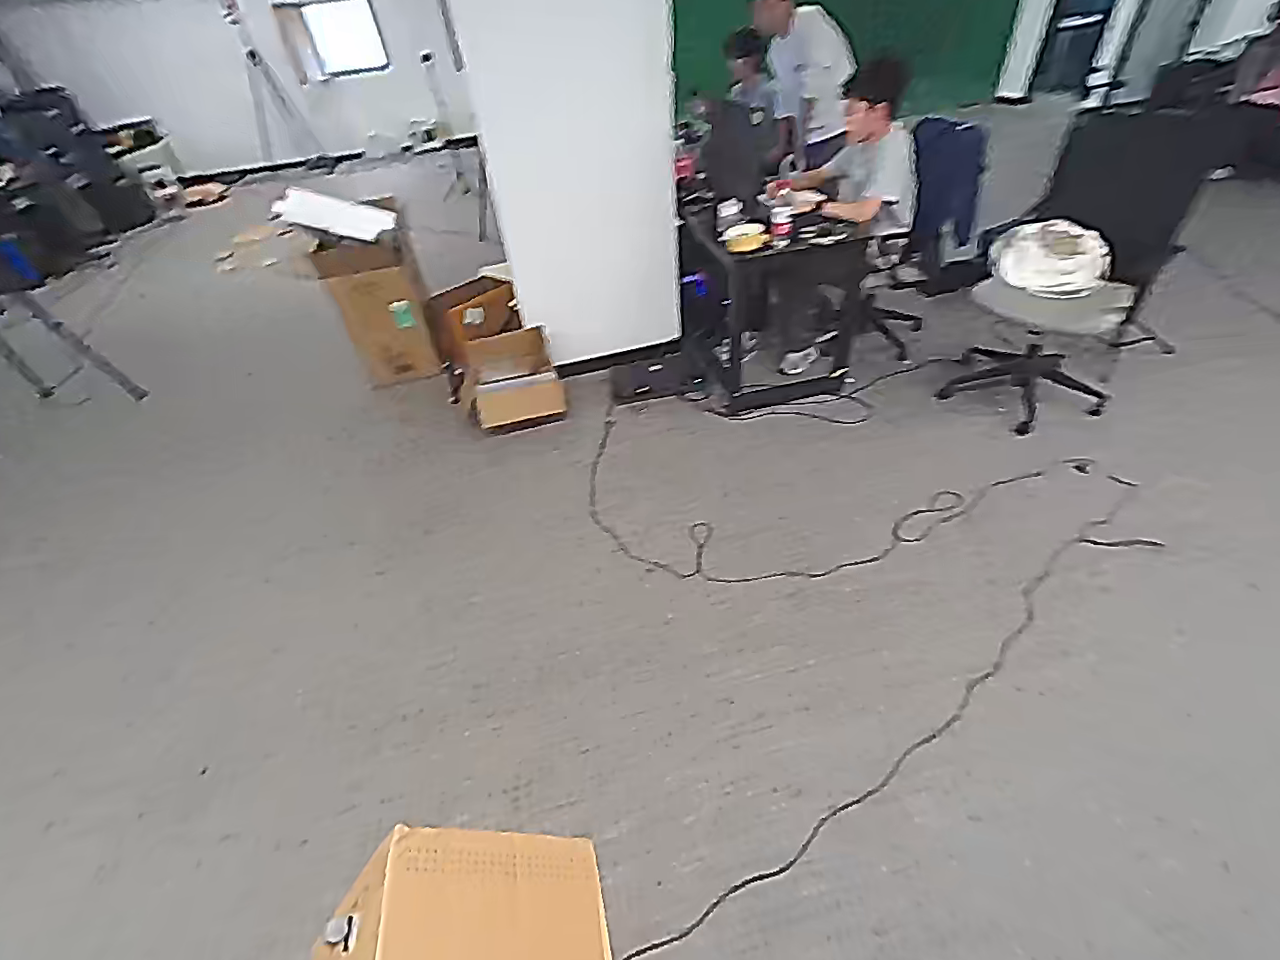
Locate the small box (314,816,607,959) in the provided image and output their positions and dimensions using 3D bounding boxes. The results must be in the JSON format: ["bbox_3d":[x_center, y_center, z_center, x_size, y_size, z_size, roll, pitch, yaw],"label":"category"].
[{"bbox_3d":[-0.132,0.377,0.394,0.179,0.168,0.176,26,19,-27],"label":"small box"}]
